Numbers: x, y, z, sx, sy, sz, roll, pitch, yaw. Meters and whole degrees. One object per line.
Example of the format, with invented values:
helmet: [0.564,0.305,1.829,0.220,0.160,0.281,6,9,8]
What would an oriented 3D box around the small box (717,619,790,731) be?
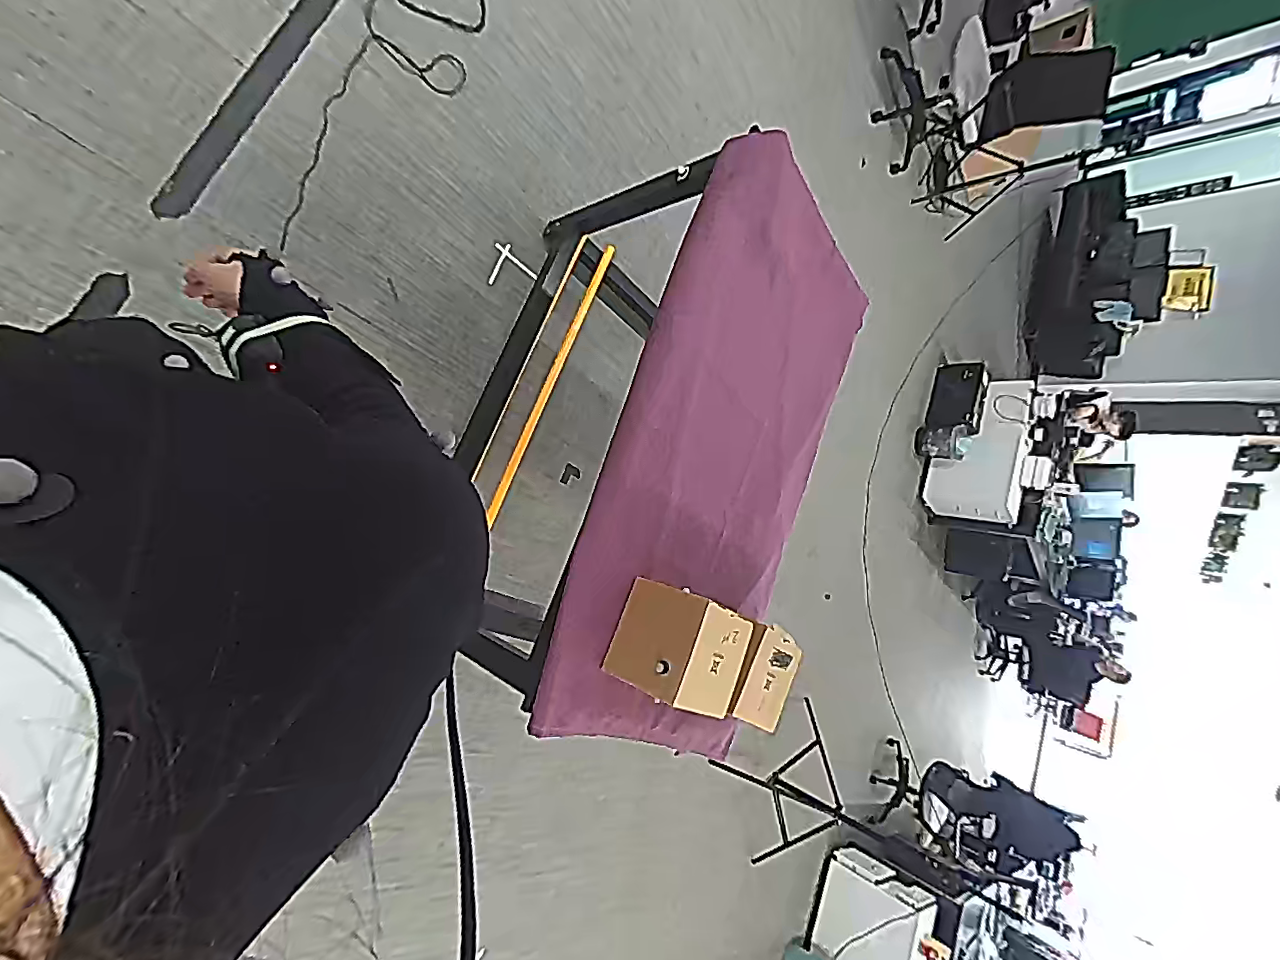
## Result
small box: [0.175,0.378,1.105,0.168,0.176,0.179,41,68,-40]

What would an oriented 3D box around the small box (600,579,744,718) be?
small box: [0.054,0.297,0.967,0.168,0.176,0.179,37,68,-44]
